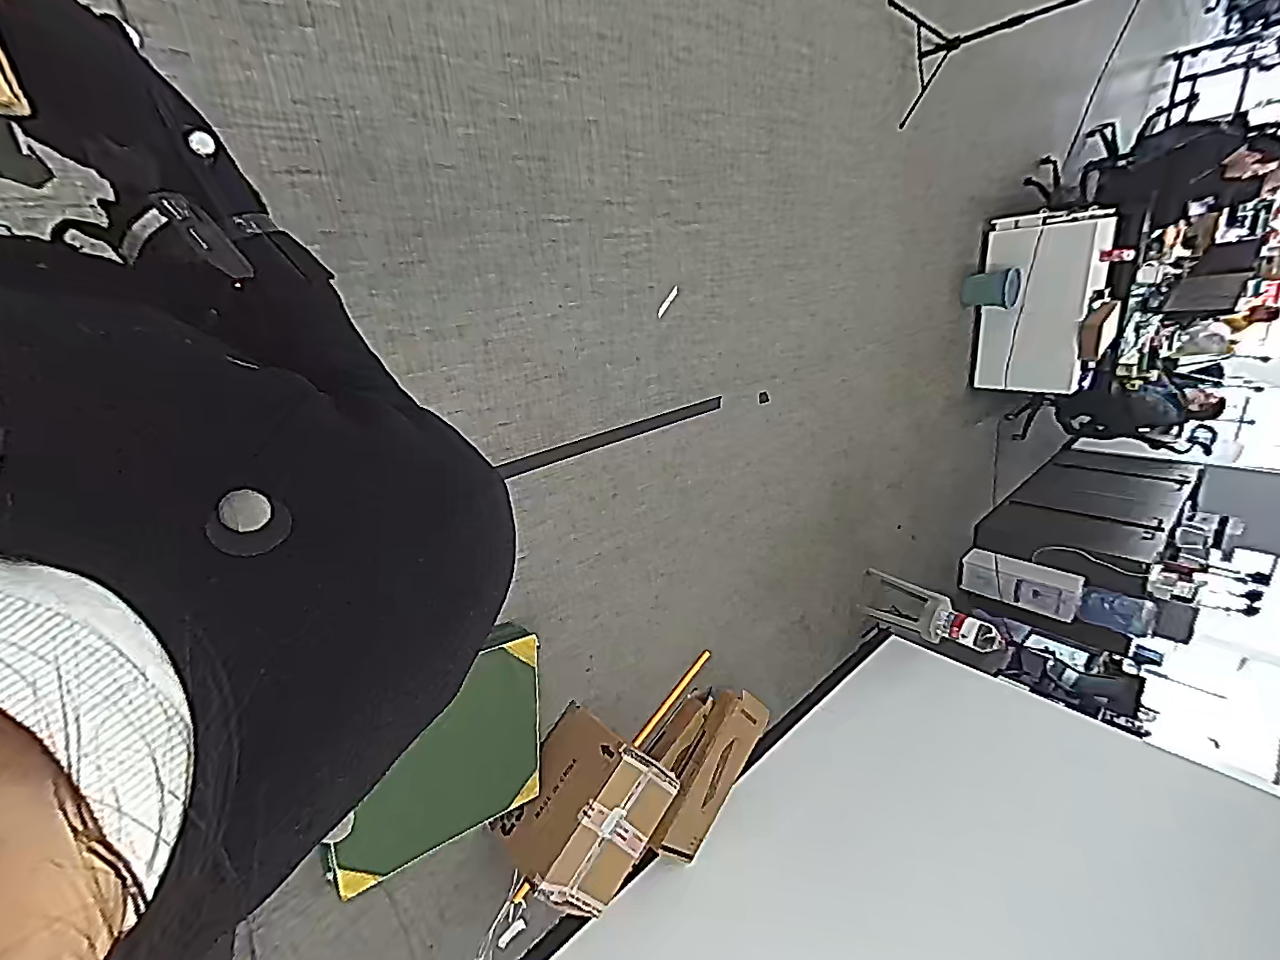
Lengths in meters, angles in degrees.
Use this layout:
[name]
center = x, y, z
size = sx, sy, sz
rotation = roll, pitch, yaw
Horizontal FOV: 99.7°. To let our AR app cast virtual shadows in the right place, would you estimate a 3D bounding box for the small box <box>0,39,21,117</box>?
[small box]
center = -0.347, -0.217, 0.159
size = 0.176, 0.168, 0.179
rotation = -24, 130, -37
